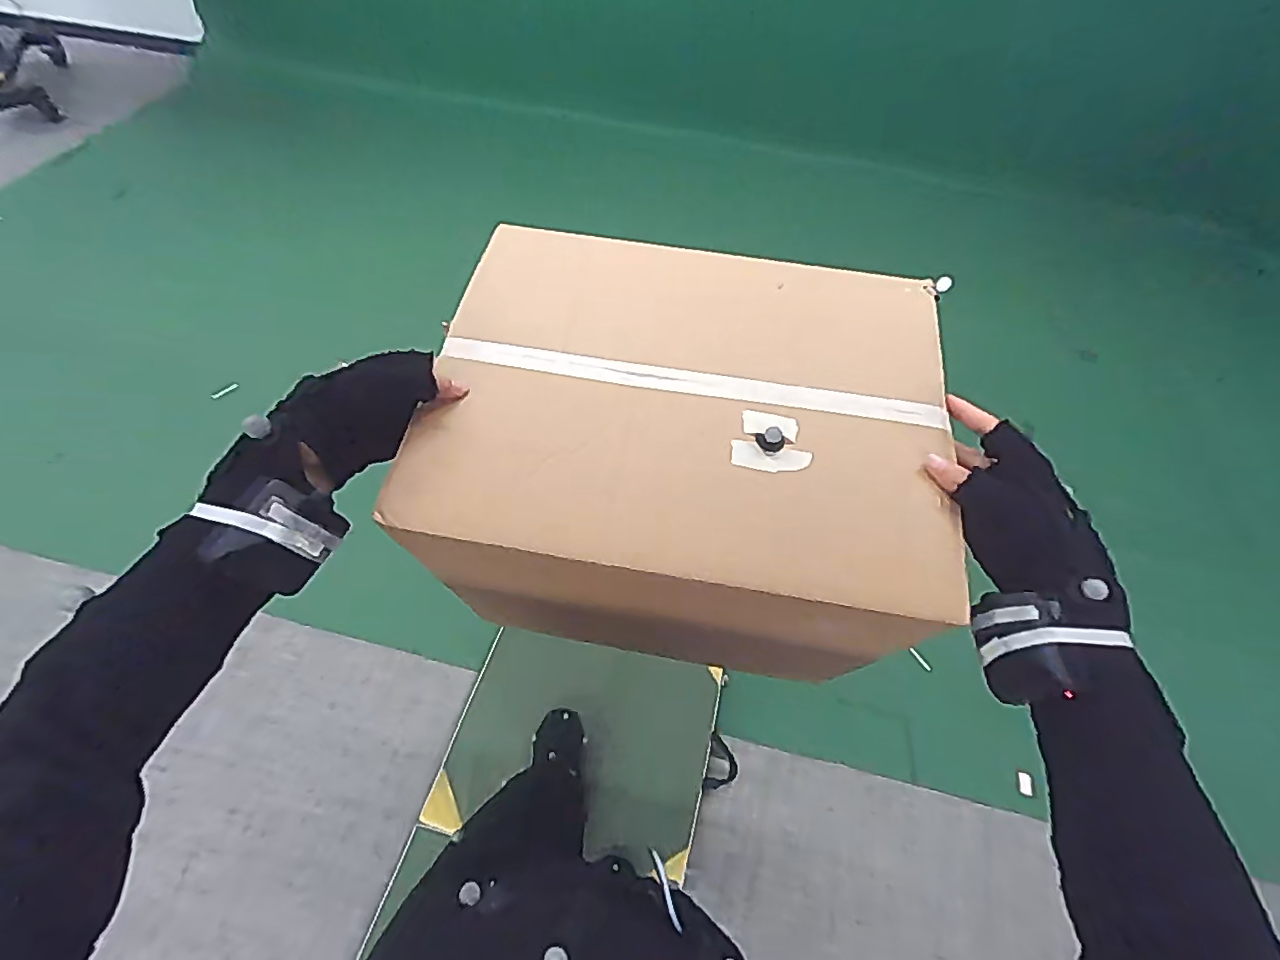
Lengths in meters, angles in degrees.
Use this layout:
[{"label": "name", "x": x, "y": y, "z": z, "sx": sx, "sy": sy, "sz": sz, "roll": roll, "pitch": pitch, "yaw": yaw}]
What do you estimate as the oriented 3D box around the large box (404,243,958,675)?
[{"label": "large box", "x": 0.040, "y": -0.002, "z": 0.579, "sx": 0.408, "sy": 0.320, "sz": 0.320, "roll": 9, "pitch": 63, "yaw": 3}]
